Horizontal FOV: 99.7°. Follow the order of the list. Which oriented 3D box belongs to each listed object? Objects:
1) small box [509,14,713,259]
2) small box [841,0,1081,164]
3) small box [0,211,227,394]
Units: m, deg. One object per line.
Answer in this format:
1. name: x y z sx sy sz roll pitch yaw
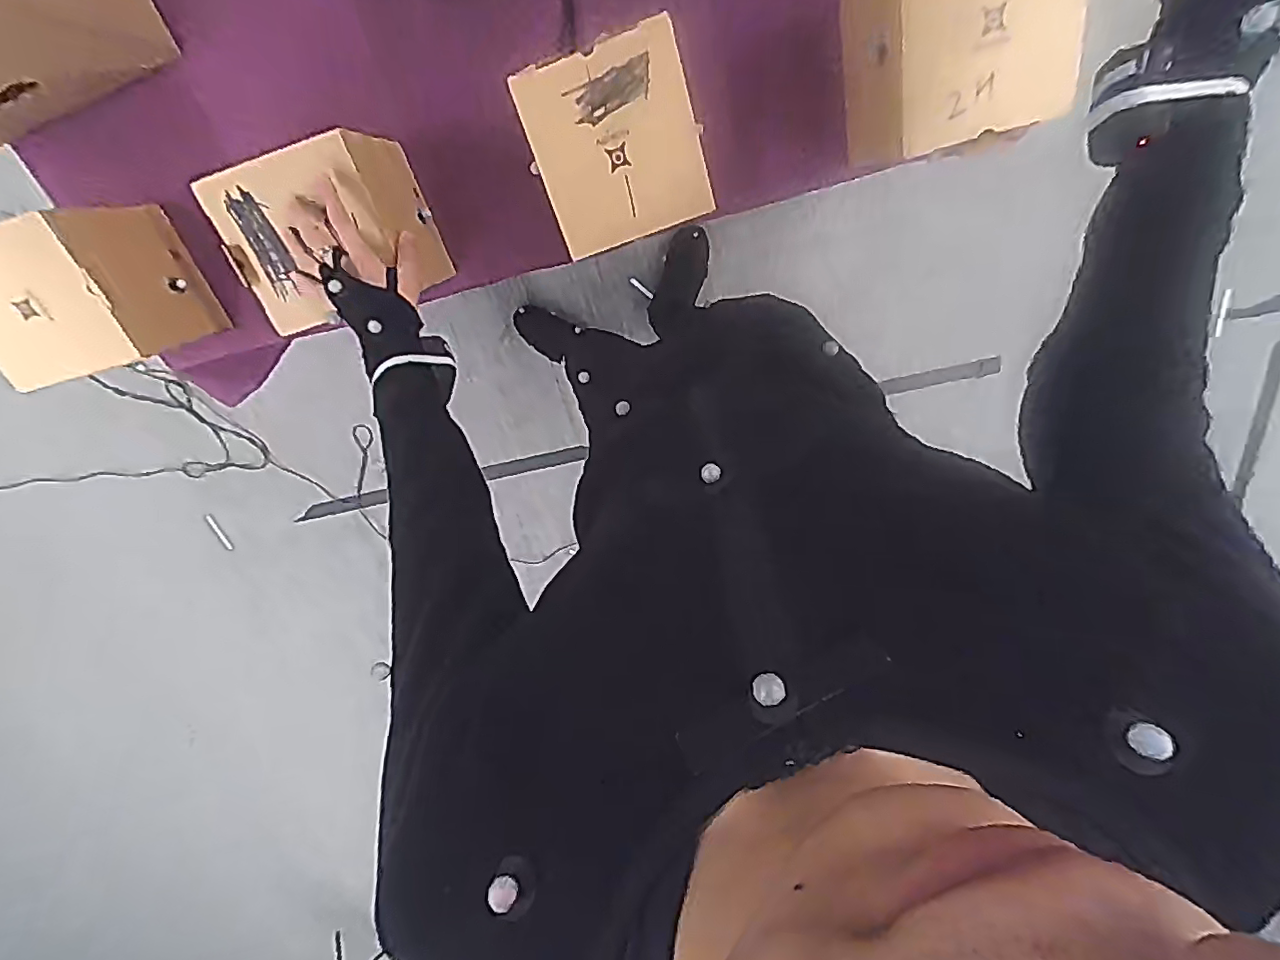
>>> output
1. small box: -0.027 -0.372 0.615 0.168 0.176 0.179 -17 118 9
2. small box: 0.322 -0.455 0.572 0.168 0.176 0.179 -12 117 7
3. small box: -0.691 -0.229 0.685 0.179 0.176 0.168 -15 117 6
